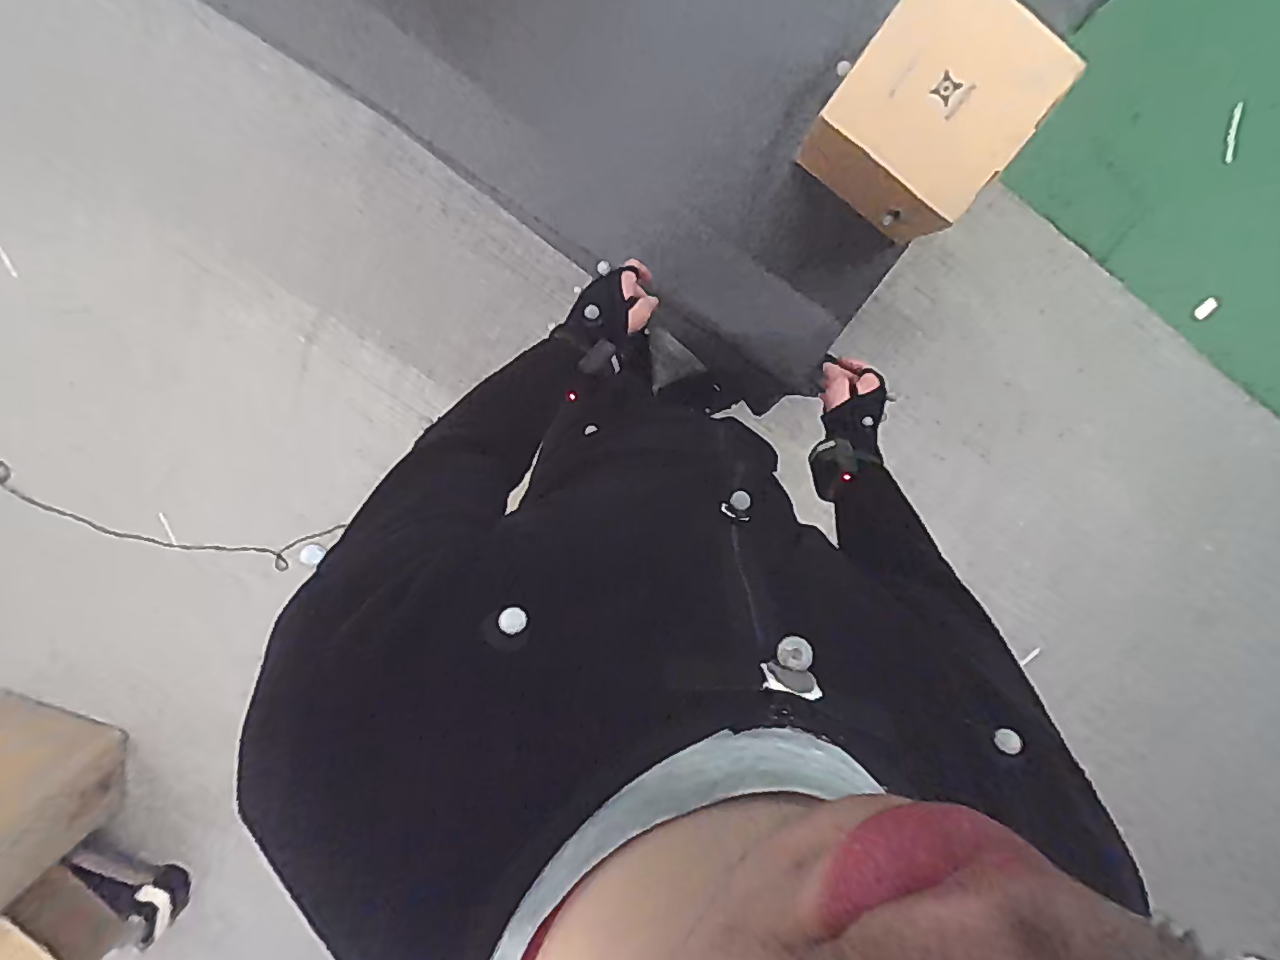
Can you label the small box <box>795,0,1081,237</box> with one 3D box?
[{"bbox_3d":[0.293,-0.384,0.579,0.179,0.176,0.168,36,108,-4],"label":"small box"}]
